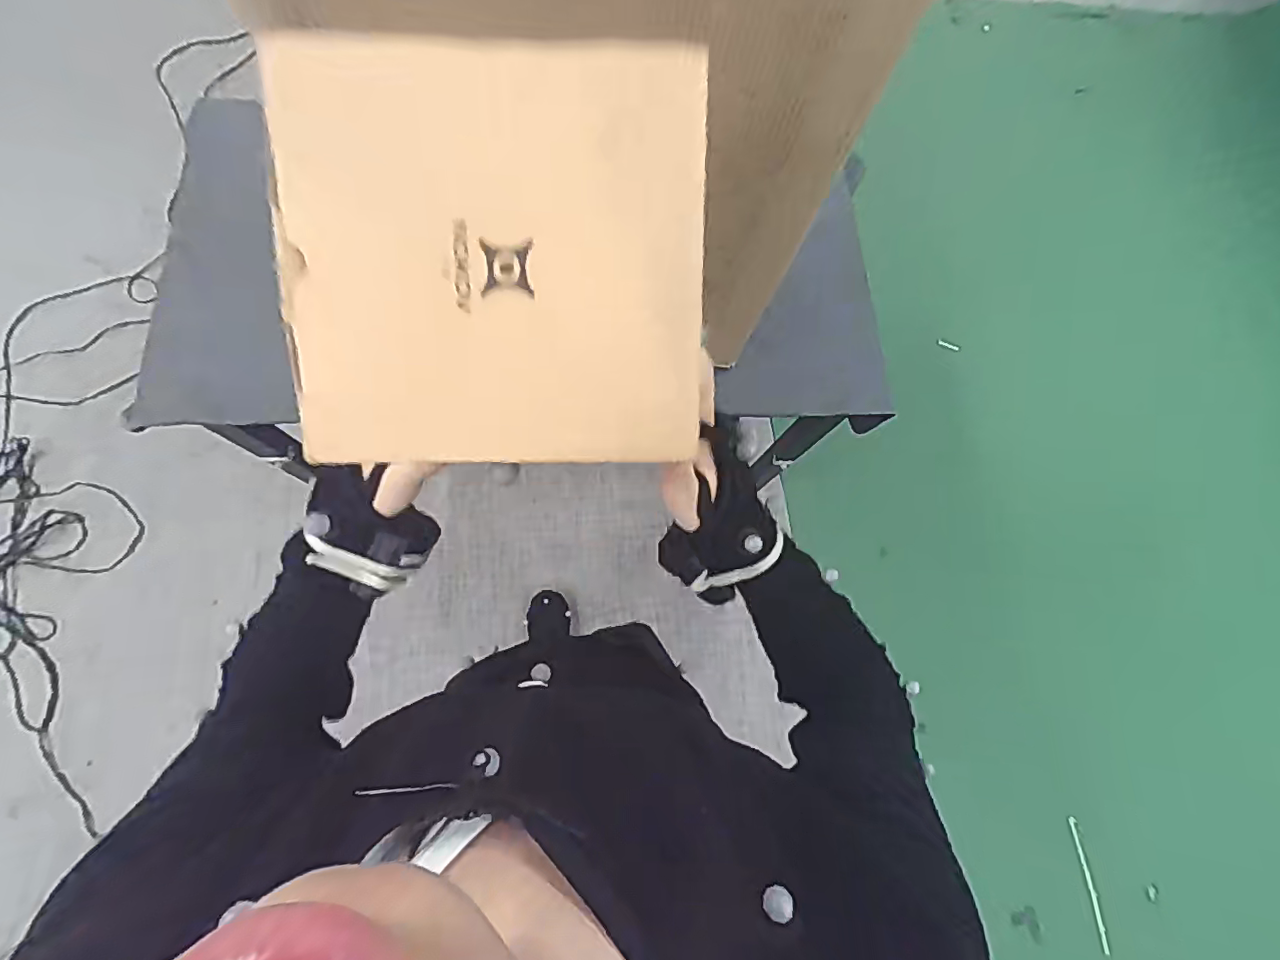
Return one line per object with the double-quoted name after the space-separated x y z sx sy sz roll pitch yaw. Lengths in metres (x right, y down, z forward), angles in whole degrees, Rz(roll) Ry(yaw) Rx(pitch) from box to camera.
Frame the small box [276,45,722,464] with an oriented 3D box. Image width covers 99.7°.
-0.058 -0.104 0.306 0.179 0.176 0.168 0 102 -1 "small box"
